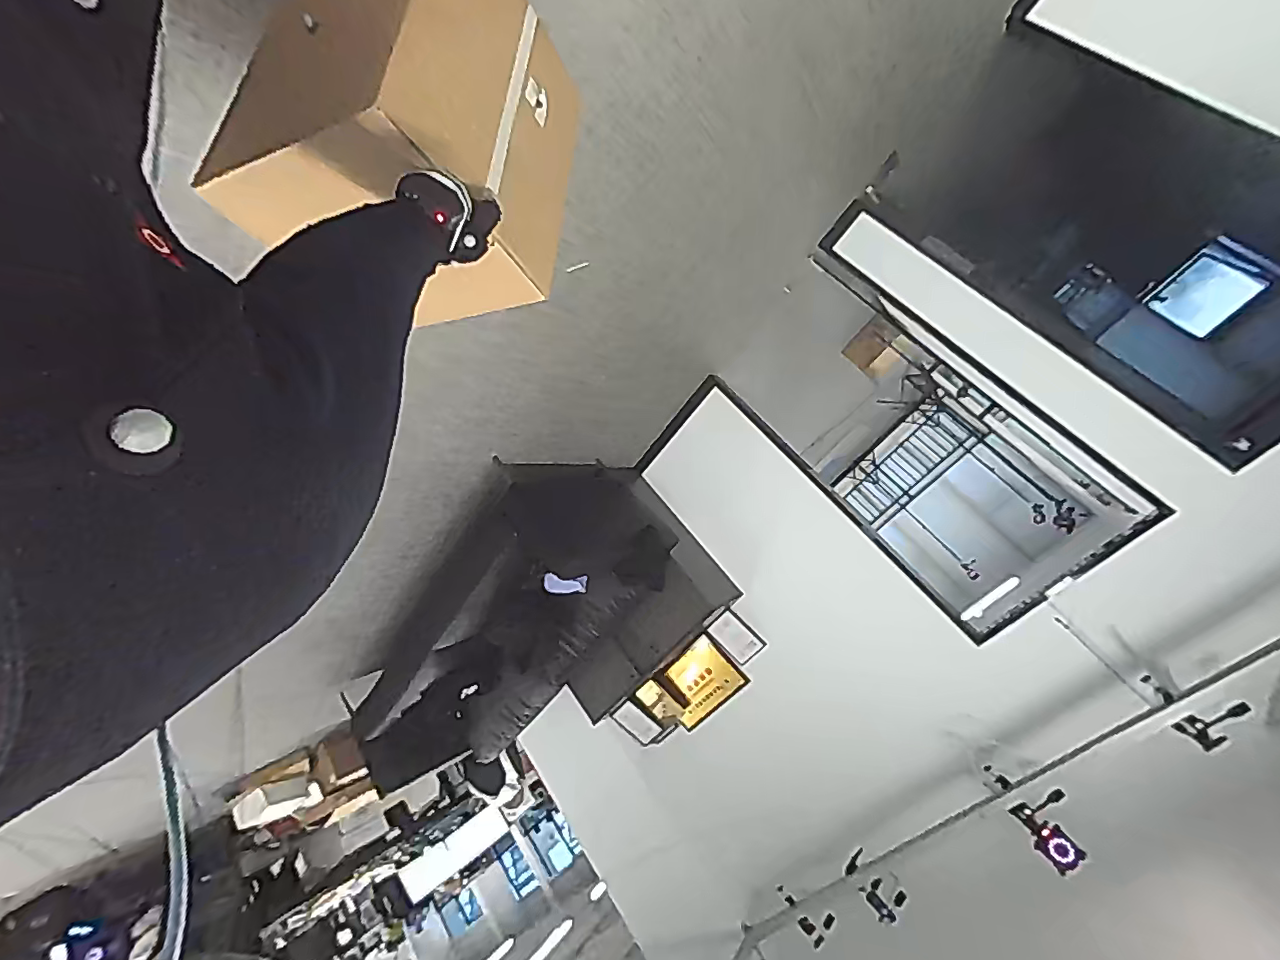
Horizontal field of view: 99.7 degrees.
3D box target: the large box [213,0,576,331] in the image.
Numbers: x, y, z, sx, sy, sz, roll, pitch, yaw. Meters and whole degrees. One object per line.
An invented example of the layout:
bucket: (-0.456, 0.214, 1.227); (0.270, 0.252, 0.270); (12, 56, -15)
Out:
large box: (-0.320, -0.490, 0.790); (0.320, 0.408, 0.320); (-4, 159, 23)
